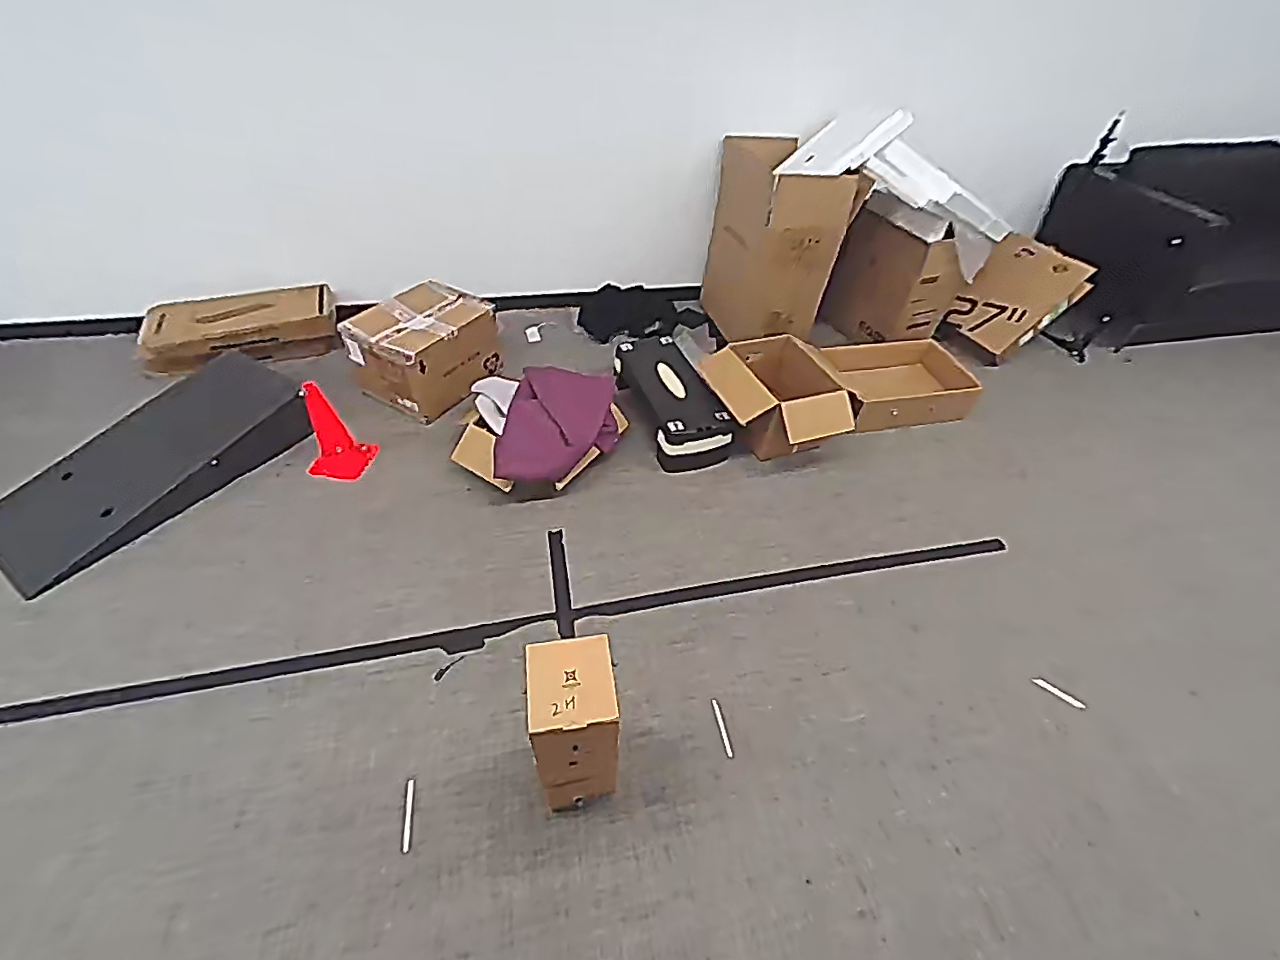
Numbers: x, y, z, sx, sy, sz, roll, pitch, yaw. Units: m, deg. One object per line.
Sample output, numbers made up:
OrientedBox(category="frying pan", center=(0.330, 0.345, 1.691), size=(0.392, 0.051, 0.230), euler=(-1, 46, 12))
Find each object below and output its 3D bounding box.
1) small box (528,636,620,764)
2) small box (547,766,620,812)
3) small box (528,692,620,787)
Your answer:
OrientedBox(category="small box", center=(-0.134, 0.439, 1.079), size=(0.168, 0.176, 0.179), euler=(-6, 47, -9))
OrientedBox(category="small box", center=(-0.153, 0.671, 1.312), size=(0.168, 0.176, 0.179), euler=(-11, 49, -14))
OrientedBox(category="small box", center=(-0.145, 0.555, 1.195), size=(0.179, 0.176, 0.168), euler=(-7, 47, -11))
